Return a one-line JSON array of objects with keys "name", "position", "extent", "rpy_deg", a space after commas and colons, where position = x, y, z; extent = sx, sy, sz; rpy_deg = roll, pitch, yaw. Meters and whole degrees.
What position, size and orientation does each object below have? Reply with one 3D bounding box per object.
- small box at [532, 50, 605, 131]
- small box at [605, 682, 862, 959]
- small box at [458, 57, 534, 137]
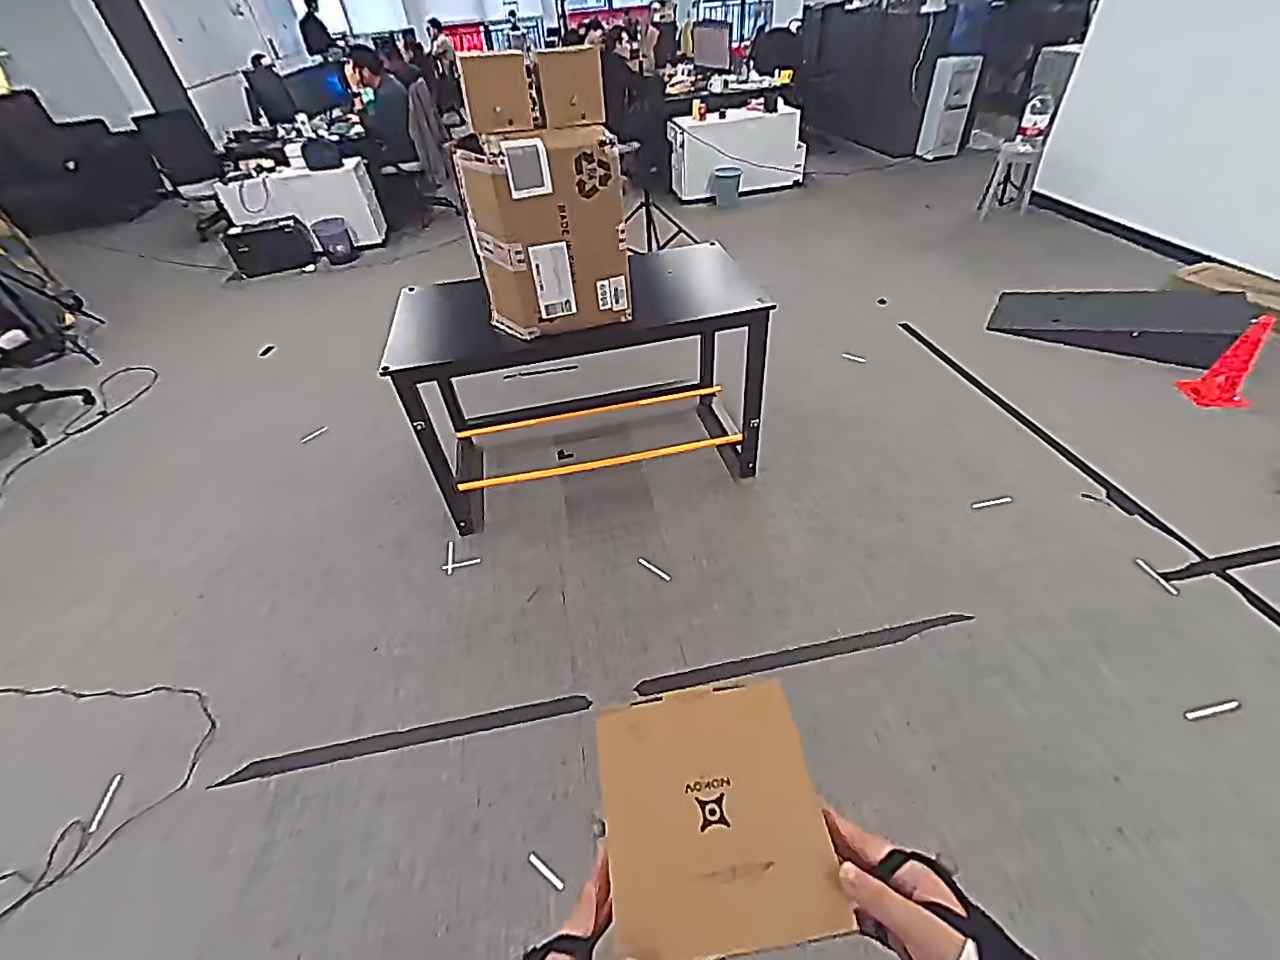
[{"name": "small box", "position": [-0.200, -1.088, 1.510], "extent": [0.168, 0.176, 0.179], "rpy_deg": [-13, 41, -9]}, {"name": "small box", "position": [0.062, 0.304, 0.475], "extent": [0.168, 0.176, 0.179], "rpy_deg": [-8, 49, -3]}, {"name": "small box", "position": [-0.393, -1.048, 1.478], "extent": [0.168, 0.176, 0.179], "rpy_deg": [-13, 41, -12]}]
